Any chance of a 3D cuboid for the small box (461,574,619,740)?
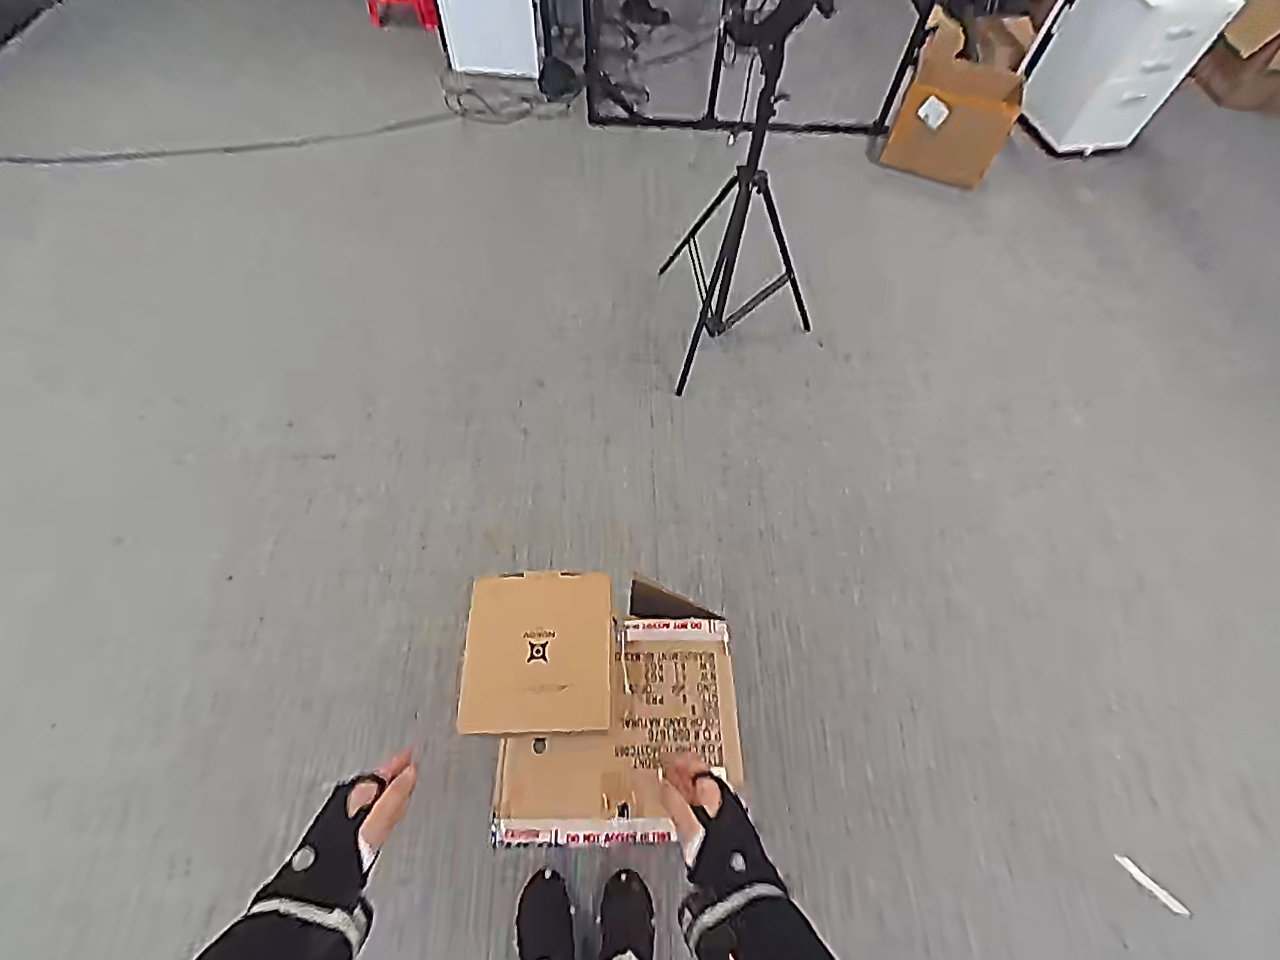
[{"bbox_3d":[-0.113,0.228,0.683,0.168,0.176,0.179,-2,64,-1],"label":"small box"}]
